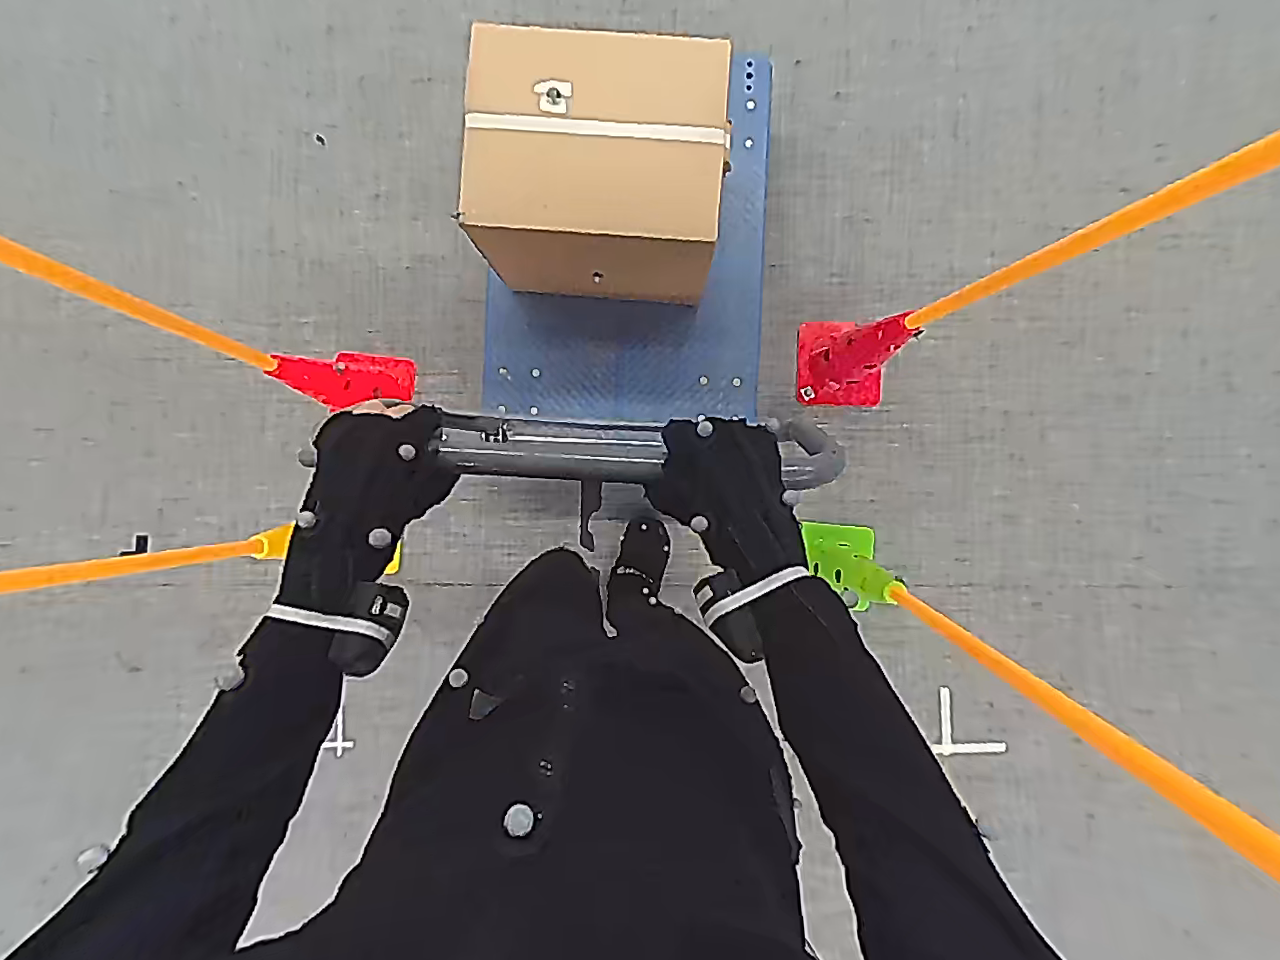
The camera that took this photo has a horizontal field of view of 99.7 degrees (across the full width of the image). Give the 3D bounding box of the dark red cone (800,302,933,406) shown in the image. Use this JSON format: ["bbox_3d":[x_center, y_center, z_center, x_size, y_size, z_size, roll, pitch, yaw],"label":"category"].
[{"bbox_3d":[0.476,-0.277,1.108,0.201,0.394,0.202,1,90,0],"label":"dark red cone"}]

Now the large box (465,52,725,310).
[{"bbox_3d":[-0.066,-0.518,1.001,0.408,0.320,0.320,5,90,2],"label":"large box"}]

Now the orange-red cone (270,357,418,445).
[{"bbox_3d":[-0.654,-0.201,1.157,0.198,0.360,0.199,8,88,1],"label":"orange-red cone"}]

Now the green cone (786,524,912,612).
[{"bbox_3d":[0.451,0.208,1.119,0.202,0.368,0.200,4,89,0],"label":"green cone"}]
